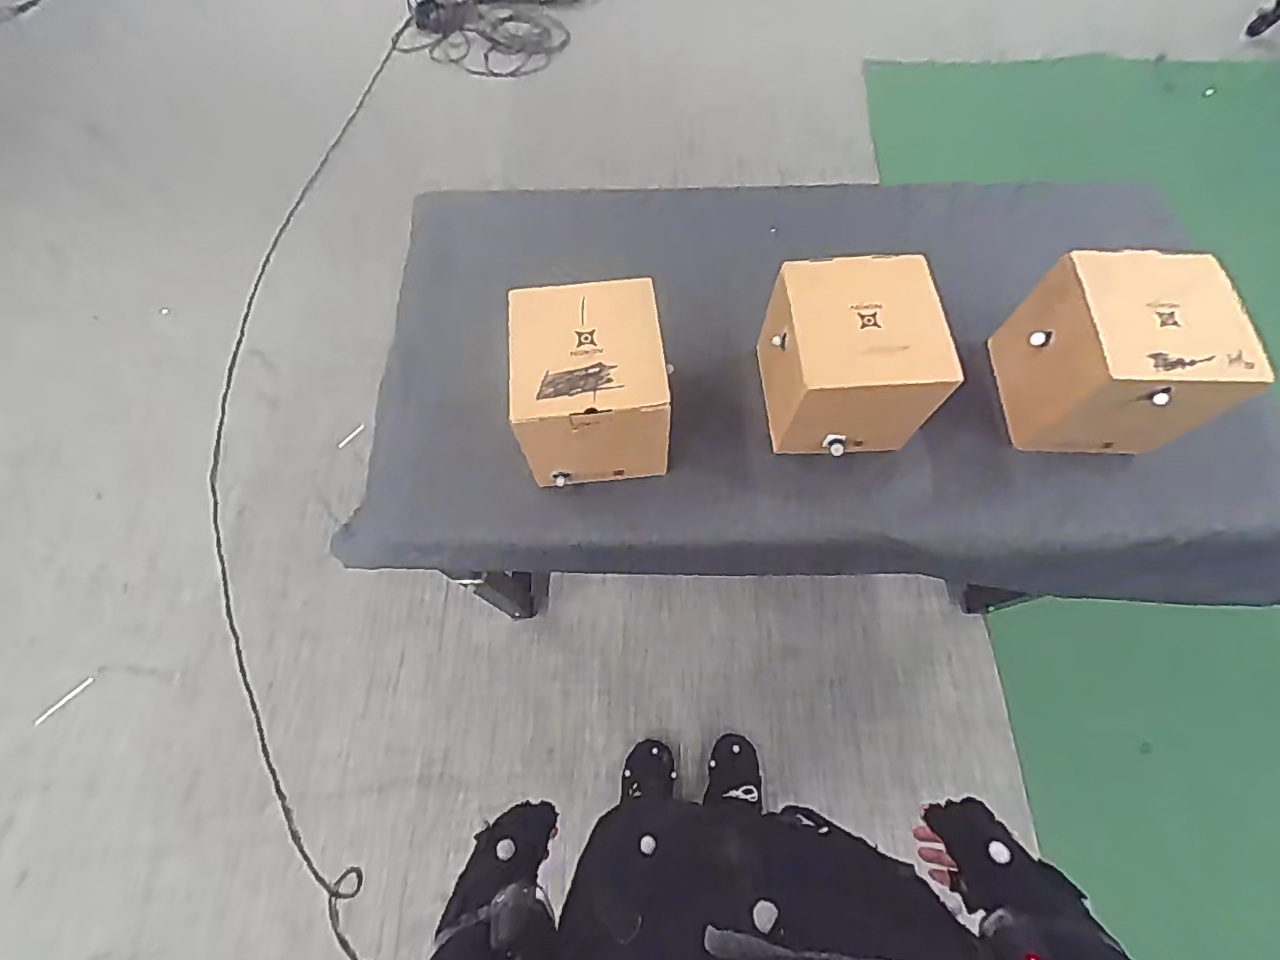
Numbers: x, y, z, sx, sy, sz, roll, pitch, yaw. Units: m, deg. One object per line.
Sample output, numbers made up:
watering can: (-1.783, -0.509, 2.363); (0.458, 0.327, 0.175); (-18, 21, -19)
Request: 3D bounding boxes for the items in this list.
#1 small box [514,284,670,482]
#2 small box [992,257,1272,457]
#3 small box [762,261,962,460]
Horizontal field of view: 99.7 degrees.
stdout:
small box: (-0.053, -0.106, 0.659); (0.168, 0.176, 0.179); (-6, 65, -2)
small box: (0.571, -0.145, 0.663); (0.168, 0.176, 0.179); (1, 66, 3)
small box: (0.255, -0.141, 0.671); (0.168, 0.176, 0.179); (-4, 68, 1)
